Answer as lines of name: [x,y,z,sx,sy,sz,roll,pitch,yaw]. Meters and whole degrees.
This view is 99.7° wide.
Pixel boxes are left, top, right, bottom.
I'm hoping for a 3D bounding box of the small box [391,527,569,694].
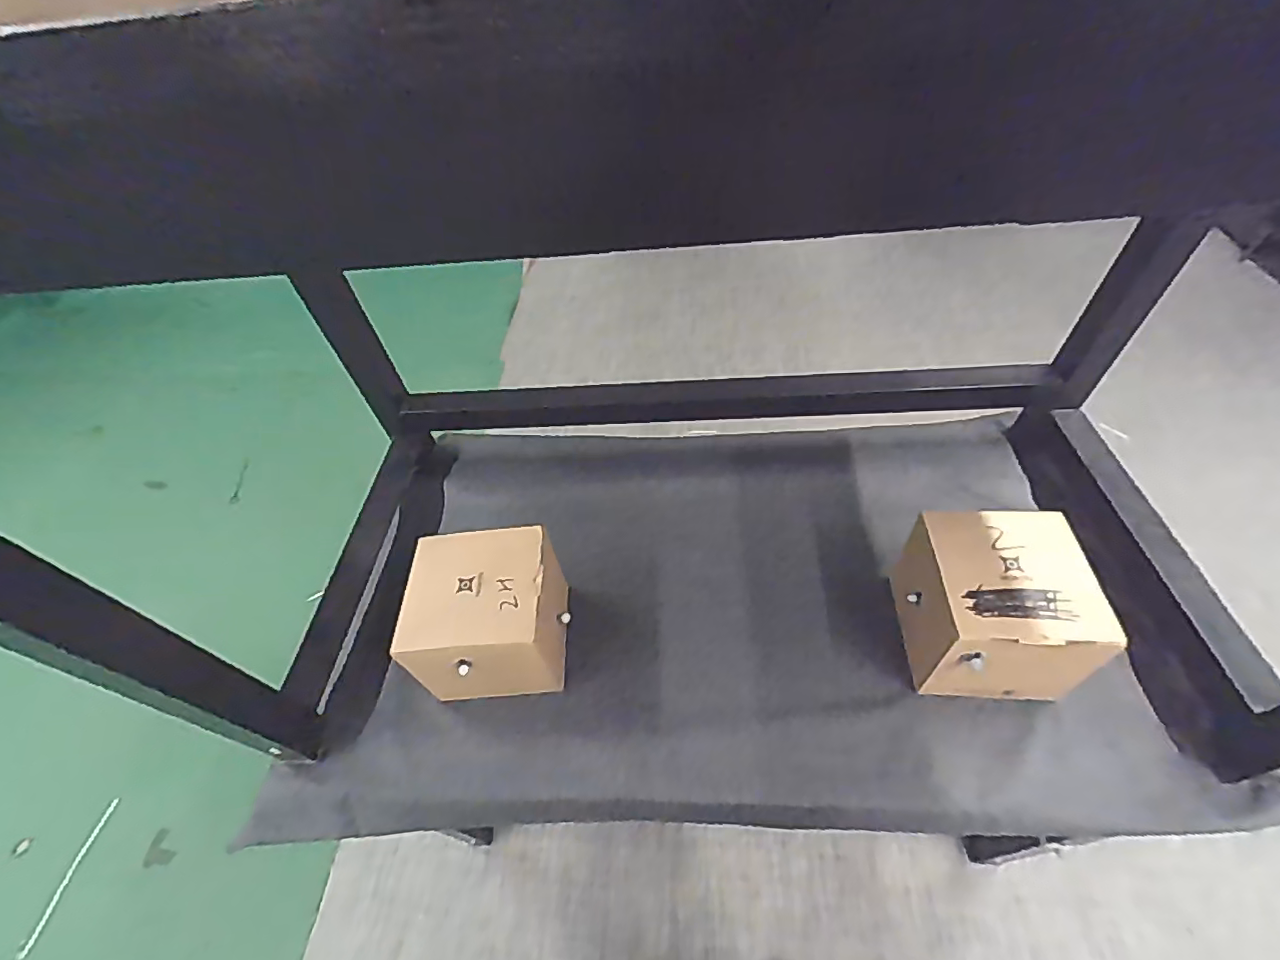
small box: [-0.204,0.184,0.746,0.179,0.176,0.168,-5,50,2]
